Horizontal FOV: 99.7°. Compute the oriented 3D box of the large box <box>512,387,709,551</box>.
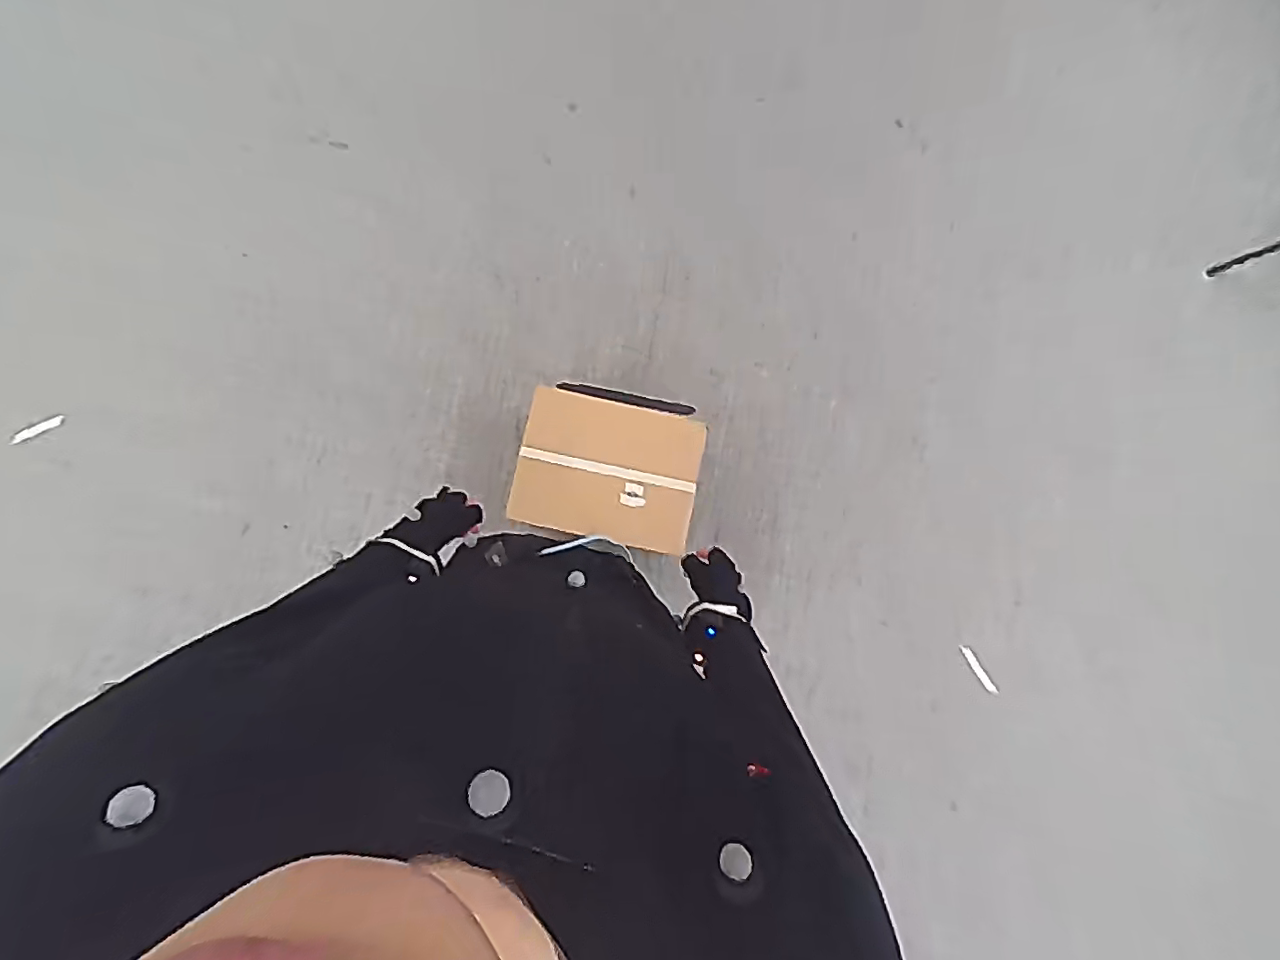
[{"bbox_3d":[-0.076,-0.008,1.374,0.408,0.320,0.320,13,83,-3],"label":"large box"}]
